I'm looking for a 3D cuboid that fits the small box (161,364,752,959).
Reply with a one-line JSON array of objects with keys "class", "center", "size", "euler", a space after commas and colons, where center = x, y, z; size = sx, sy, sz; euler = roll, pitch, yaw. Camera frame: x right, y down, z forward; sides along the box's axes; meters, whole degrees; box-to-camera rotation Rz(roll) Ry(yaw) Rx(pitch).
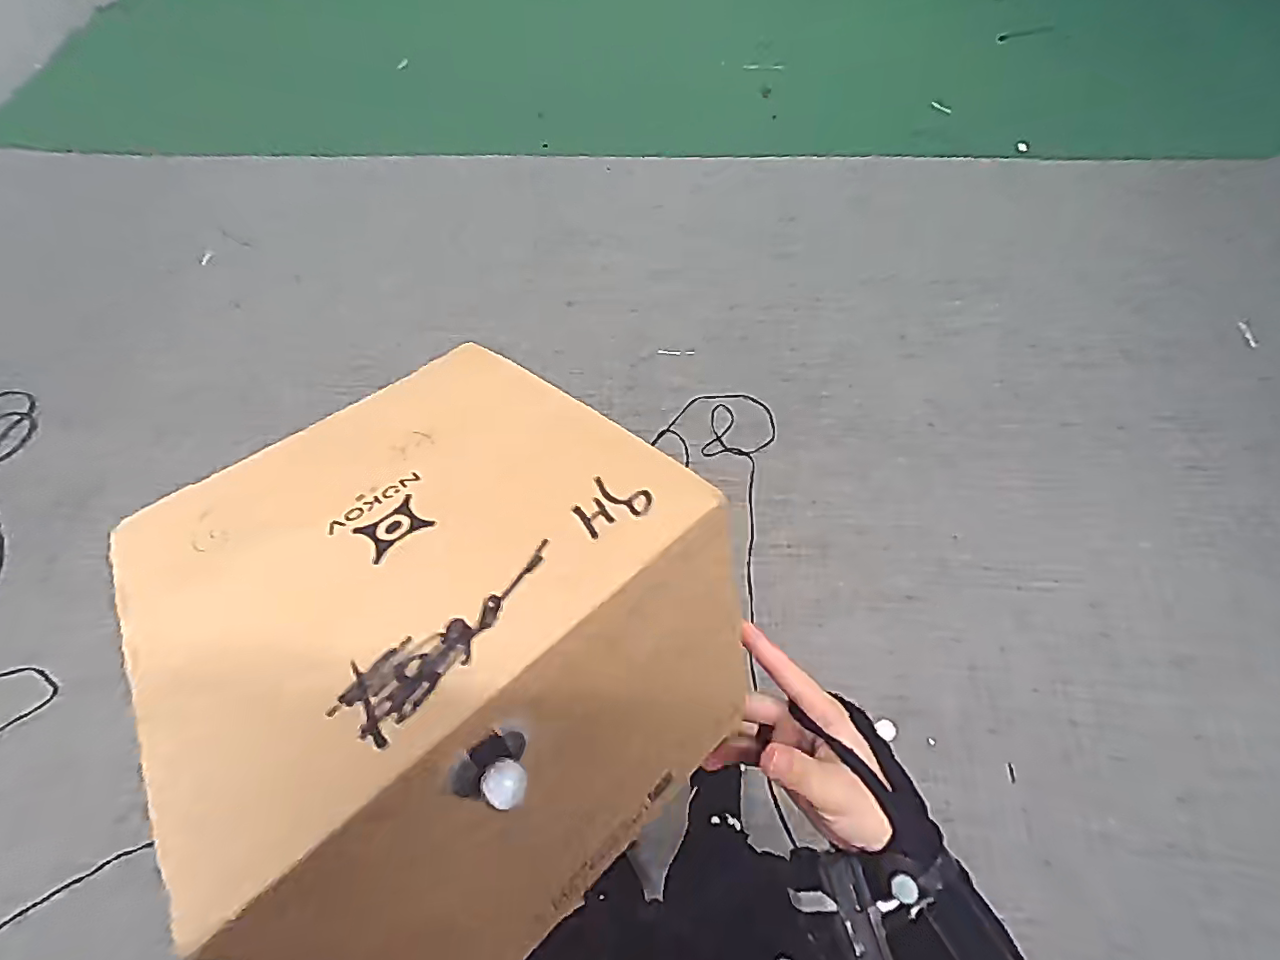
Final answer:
[{"class": "small box", "center": [-0.066, 0.076, 0.255], "size": [0.168, 0.176, 0.179], "euler": [-39, 48, -23]}]
